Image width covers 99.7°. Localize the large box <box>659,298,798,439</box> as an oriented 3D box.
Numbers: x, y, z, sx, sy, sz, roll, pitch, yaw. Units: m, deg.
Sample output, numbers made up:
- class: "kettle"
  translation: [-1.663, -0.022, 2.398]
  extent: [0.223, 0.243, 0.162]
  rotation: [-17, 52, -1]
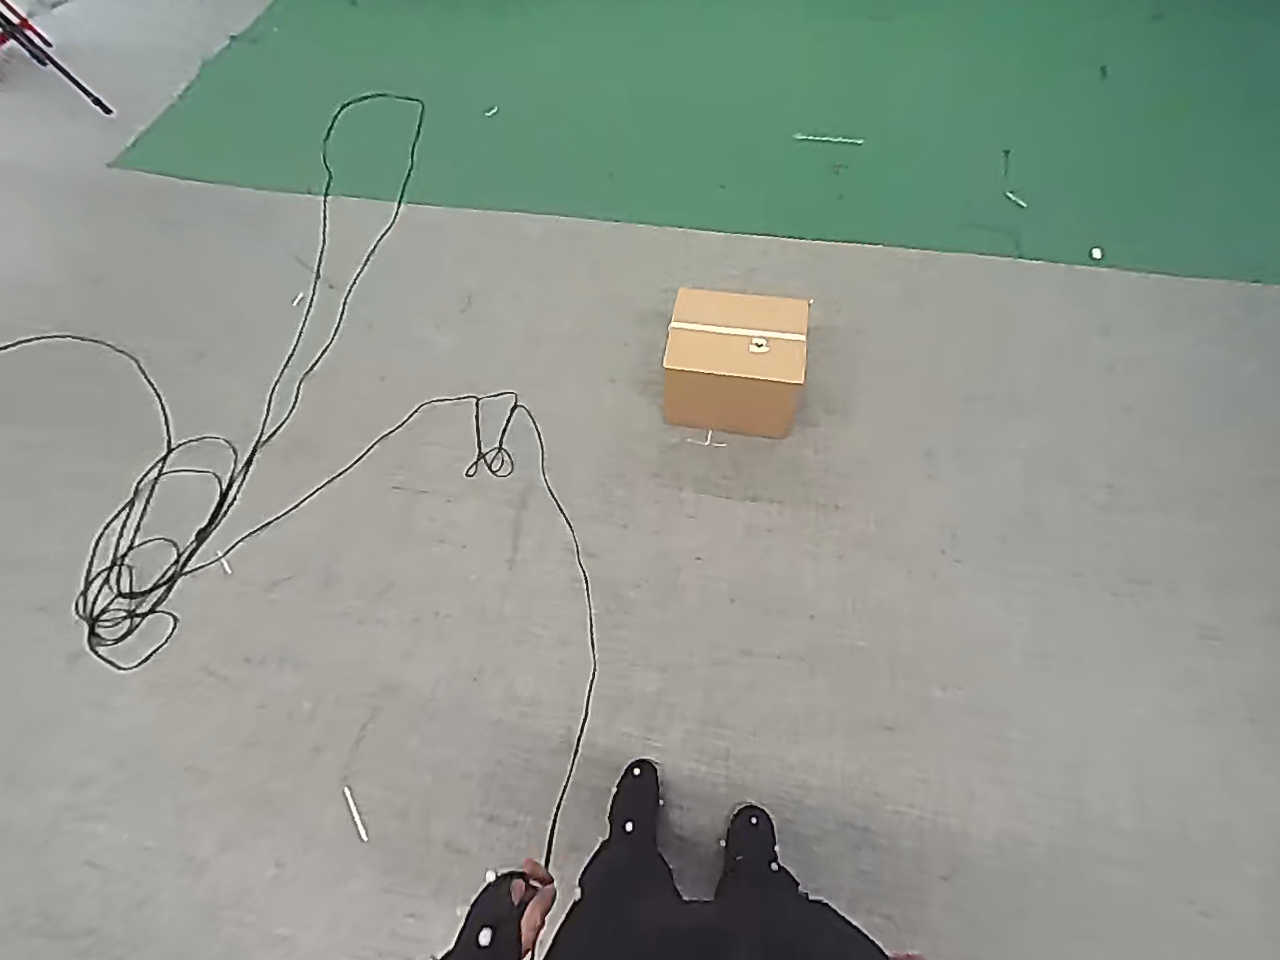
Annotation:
- class: "large box"
  translation: [0.276, -0.355, 1.759]
  extent: [0.408, 0.320, 0.320]
  rotation: [7, 64, 6]
